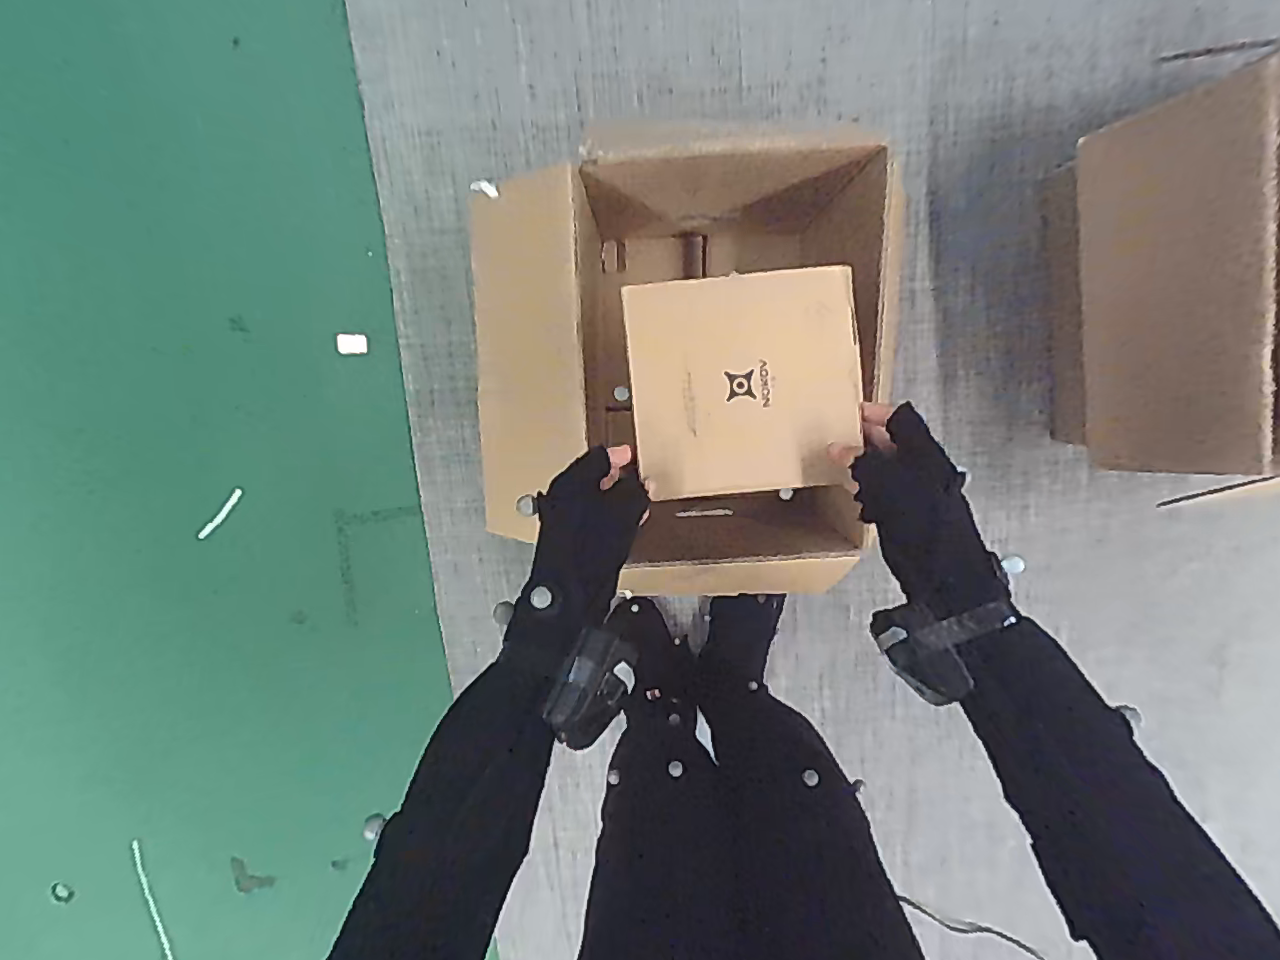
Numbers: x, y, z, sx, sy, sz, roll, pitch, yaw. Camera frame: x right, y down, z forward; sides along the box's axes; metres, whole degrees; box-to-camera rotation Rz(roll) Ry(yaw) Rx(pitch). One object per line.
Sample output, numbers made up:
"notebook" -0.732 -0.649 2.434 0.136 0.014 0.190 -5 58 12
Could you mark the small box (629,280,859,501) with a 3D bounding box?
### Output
"small box" 0.082 -0.074 0.508 0.179 0.176 0.168 -5 92 0
